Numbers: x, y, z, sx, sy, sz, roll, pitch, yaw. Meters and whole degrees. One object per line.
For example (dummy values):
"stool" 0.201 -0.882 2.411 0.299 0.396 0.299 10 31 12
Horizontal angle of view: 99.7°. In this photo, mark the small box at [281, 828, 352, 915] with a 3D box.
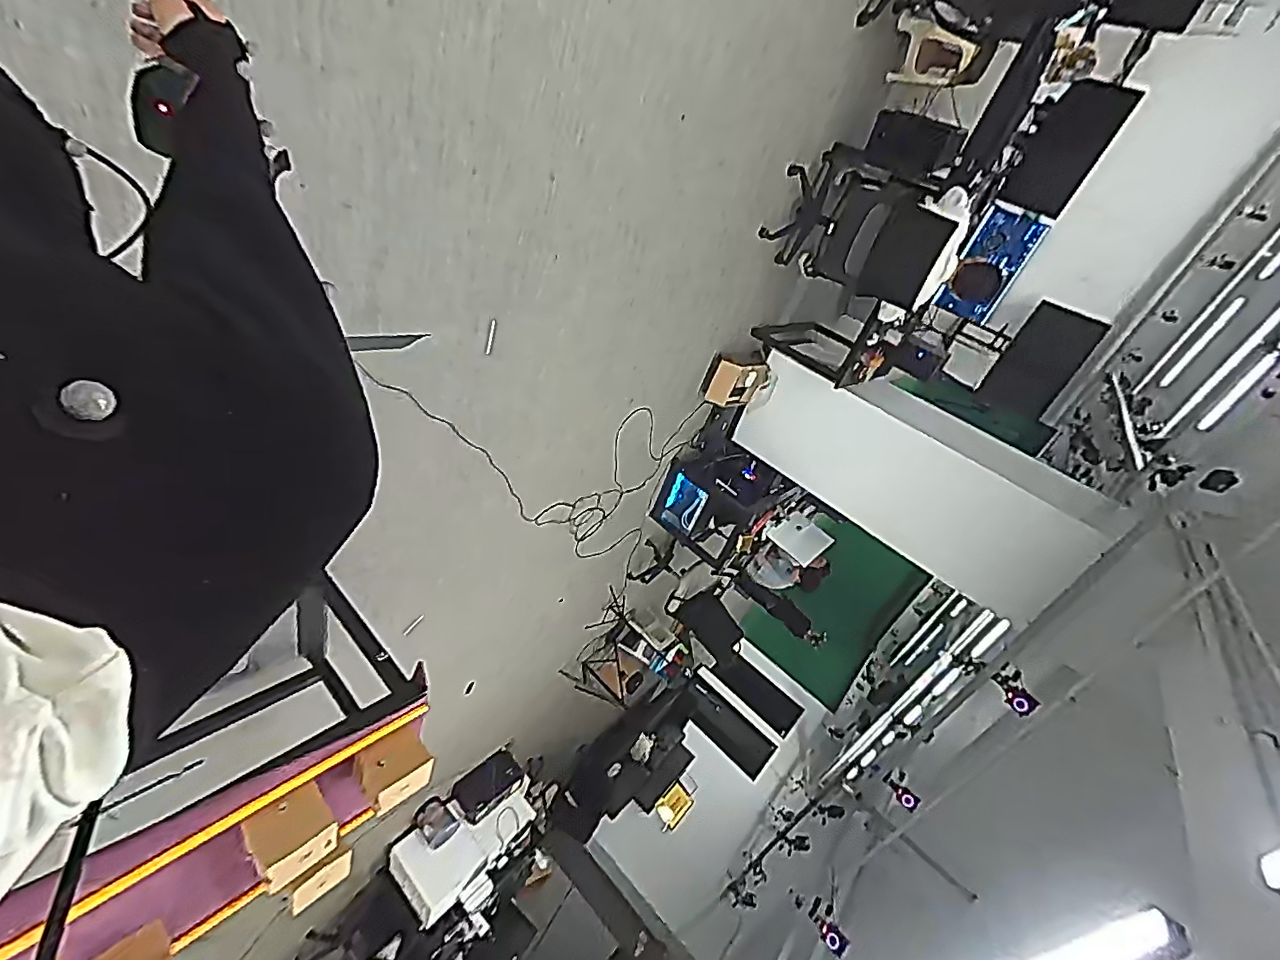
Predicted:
"small box" -1.026 1.187 1.686 0.168 0.176 0.179 -21 139 -49

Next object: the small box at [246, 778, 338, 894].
"small box" -0.975 0.986 1.510 0.179 0.176 0.168 -21 141 -48

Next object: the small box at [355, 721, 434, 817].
"small box" -0.792 0.921 1.733 0.179 0.176 0.168 -19 140 -47

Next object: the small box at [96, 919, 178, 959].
"small box" -1.288 1.283 1.368 0.179 0.176 0.168 -21 140 -50
